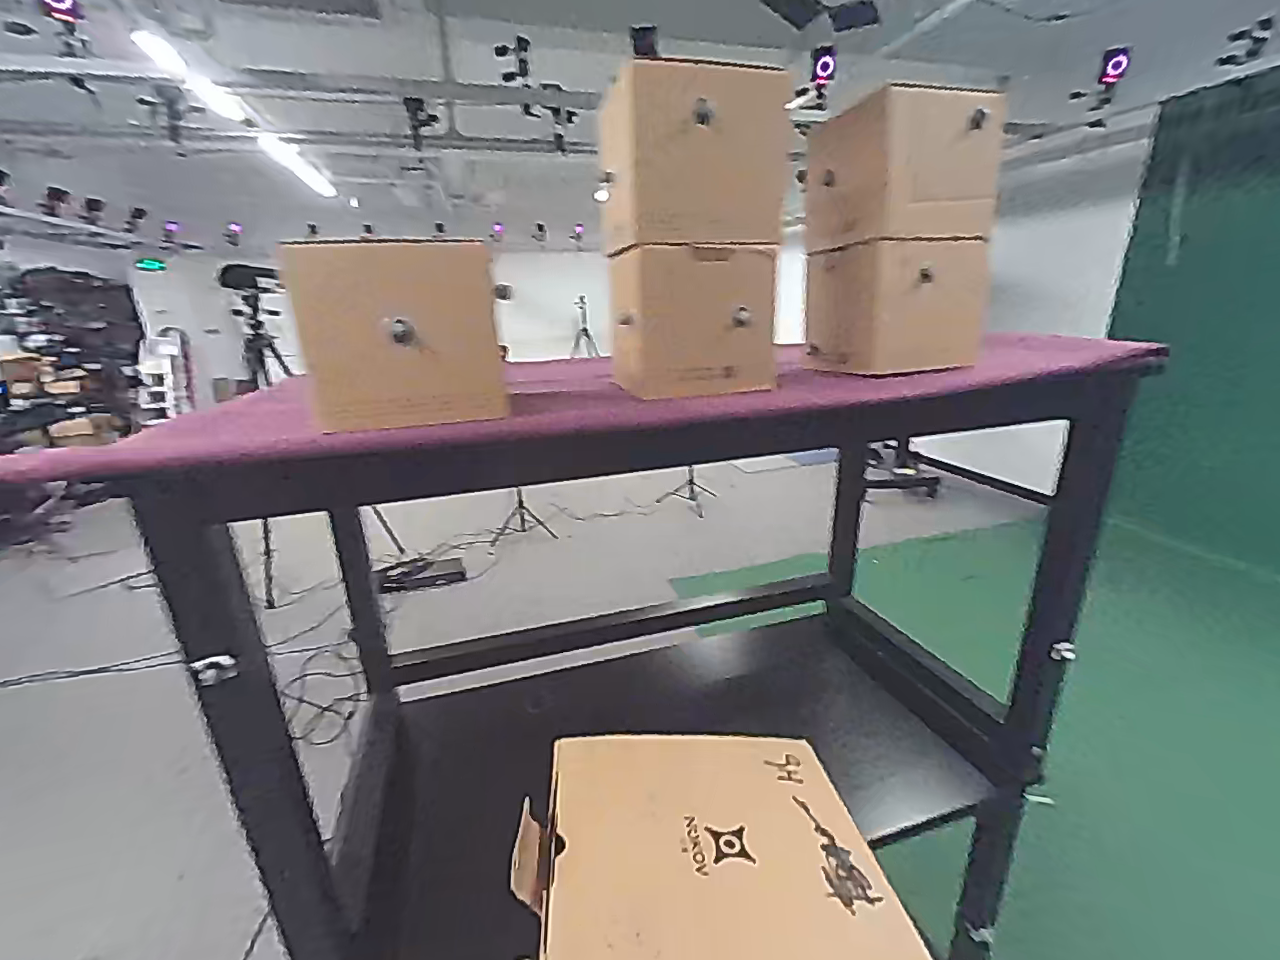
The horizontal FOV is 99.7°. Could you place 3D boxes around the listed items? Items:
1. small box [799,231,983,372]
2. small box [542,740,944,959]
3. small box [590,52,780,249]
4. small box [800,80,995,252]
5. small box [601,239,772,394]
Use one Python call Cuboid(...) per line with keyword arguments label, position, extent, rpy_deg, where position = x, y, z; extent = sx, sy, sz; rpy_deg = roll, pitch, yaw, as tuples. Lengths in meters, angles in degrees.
Cuboid(label="small box", position=(0.347, -0.246, 0.769), extent=(0.179, 0.176, 0.168), rpy_deg=(-8, 16, -16))
Cuboid(label="small box", position=(0.037, 0.272, 0.297), extent=(0.179, 0.176, 0.168), rpy_deg=(3, 13, -6))
Cuboid(label="small box", position=(0.045, -0.358, 0.629), extent=(0.179, 0.176, 0.168), rpy_deg=(-6, 19, -14))
Cuboid(label="small box", position=(0.335, -0.403, 0.729), extent=(0.179, 0.176, 0.168), rpy_deg=(-8, 16, -16))
Cuboid(label="small box", position=(0.051, -0.201, 0.678), extent=(0.168, 0.176, 0.179), rpy_deg=(-6, 18, -14))
